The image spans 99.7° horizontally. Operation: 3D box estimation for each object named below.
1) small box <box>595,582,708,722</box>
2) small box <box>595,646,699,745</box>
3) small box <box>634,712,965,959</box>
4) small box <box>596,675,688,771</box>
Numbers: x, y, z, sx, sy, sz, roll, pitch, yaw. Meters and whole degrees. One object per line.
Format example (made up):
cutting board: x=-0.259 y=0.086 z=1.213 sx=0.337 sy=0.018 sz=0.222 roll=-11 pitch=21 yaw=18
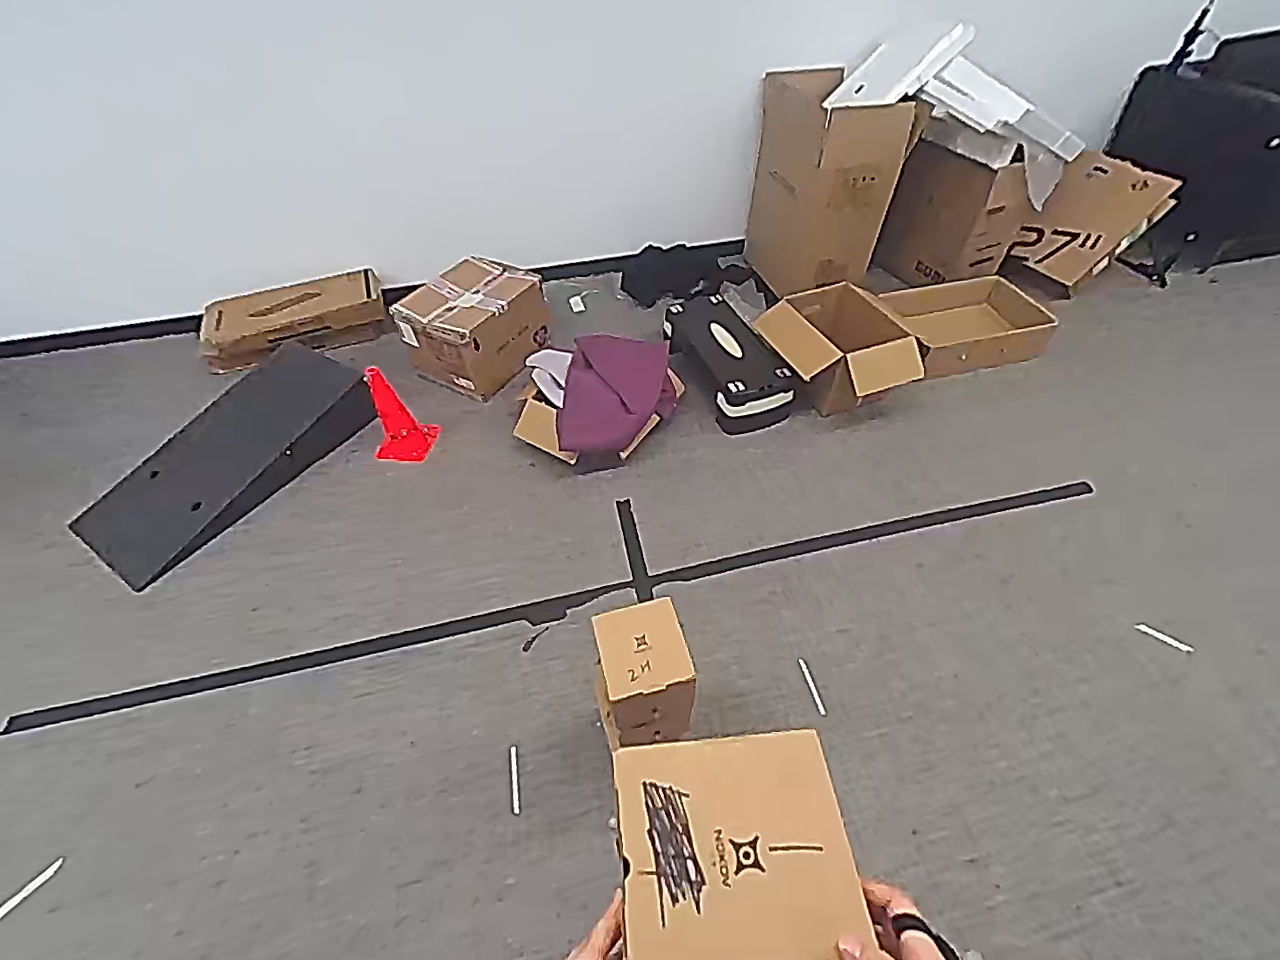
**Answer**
small box: x=0.018 y=0.323 z=1.012 sx=0.168 sy=0.176 sz=0.179 roll=-13 pitch=51 yaw=-8
small box: x=0.016 y=0.435 z=1.134 sx=0.168 sy=0.176 sz=0.179 roll=-17 pitch=51 yaw=-12
small box: x=0.091 y=0.286 z=0.390 sx=0.179 sy=0.176 sz=0.168 roll=-4 pitch=50 yaw=-3
small box: x=0.002 y=0.544 z=1.257 sx=0.168 sy=0.176 sz=0.179 roll=-16 pitch=52 yaw=-11
